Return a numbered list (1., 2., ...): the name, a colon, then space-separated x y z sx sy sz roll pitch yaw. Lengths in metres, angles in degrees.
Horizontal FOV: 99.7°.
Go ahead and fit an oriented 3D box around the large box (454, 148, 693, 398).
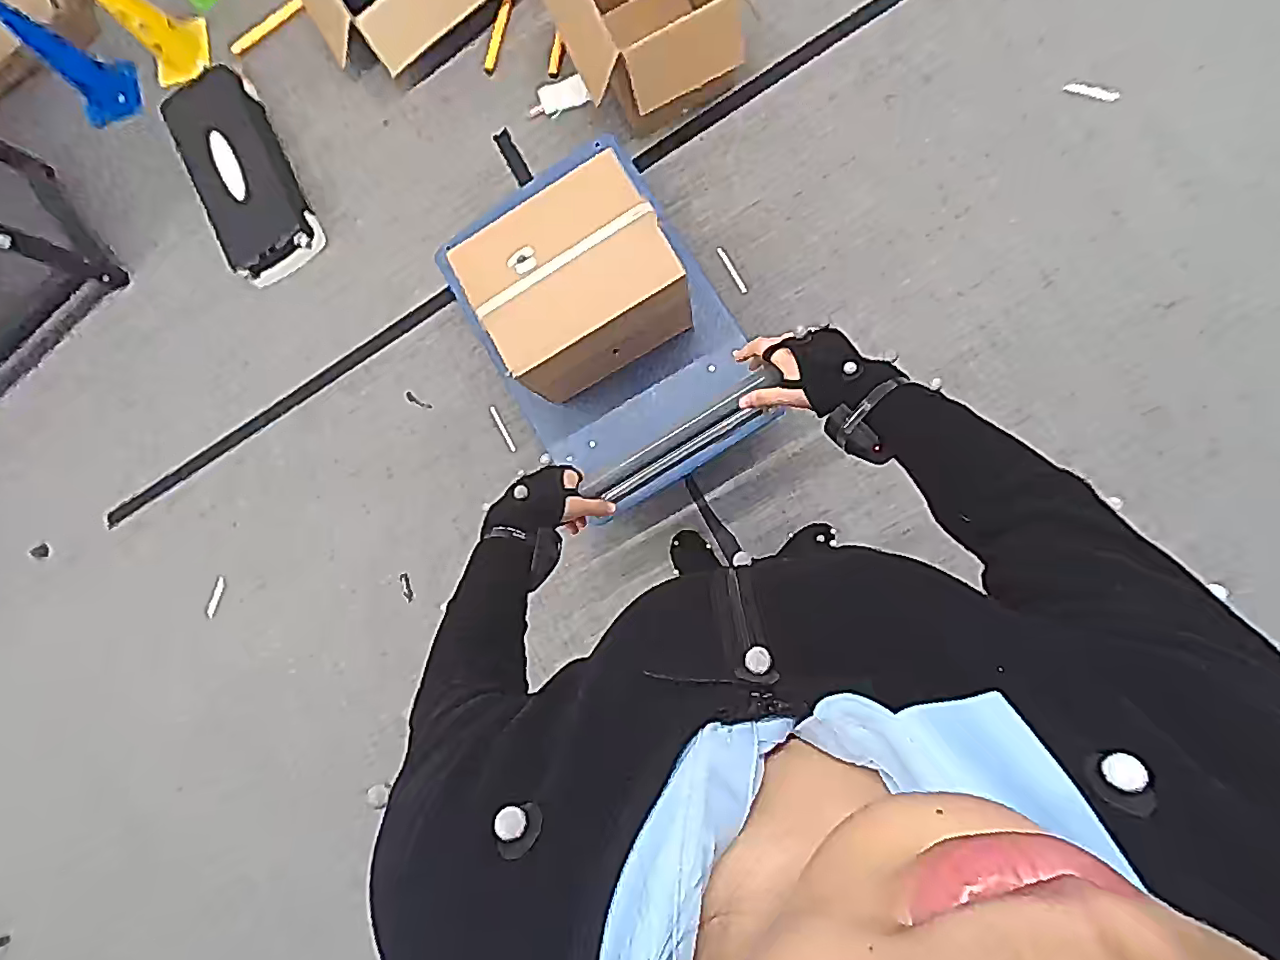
1. large box: -0.129 -0.440 1.247 0.408 0.320 0.320 -30 83 7
